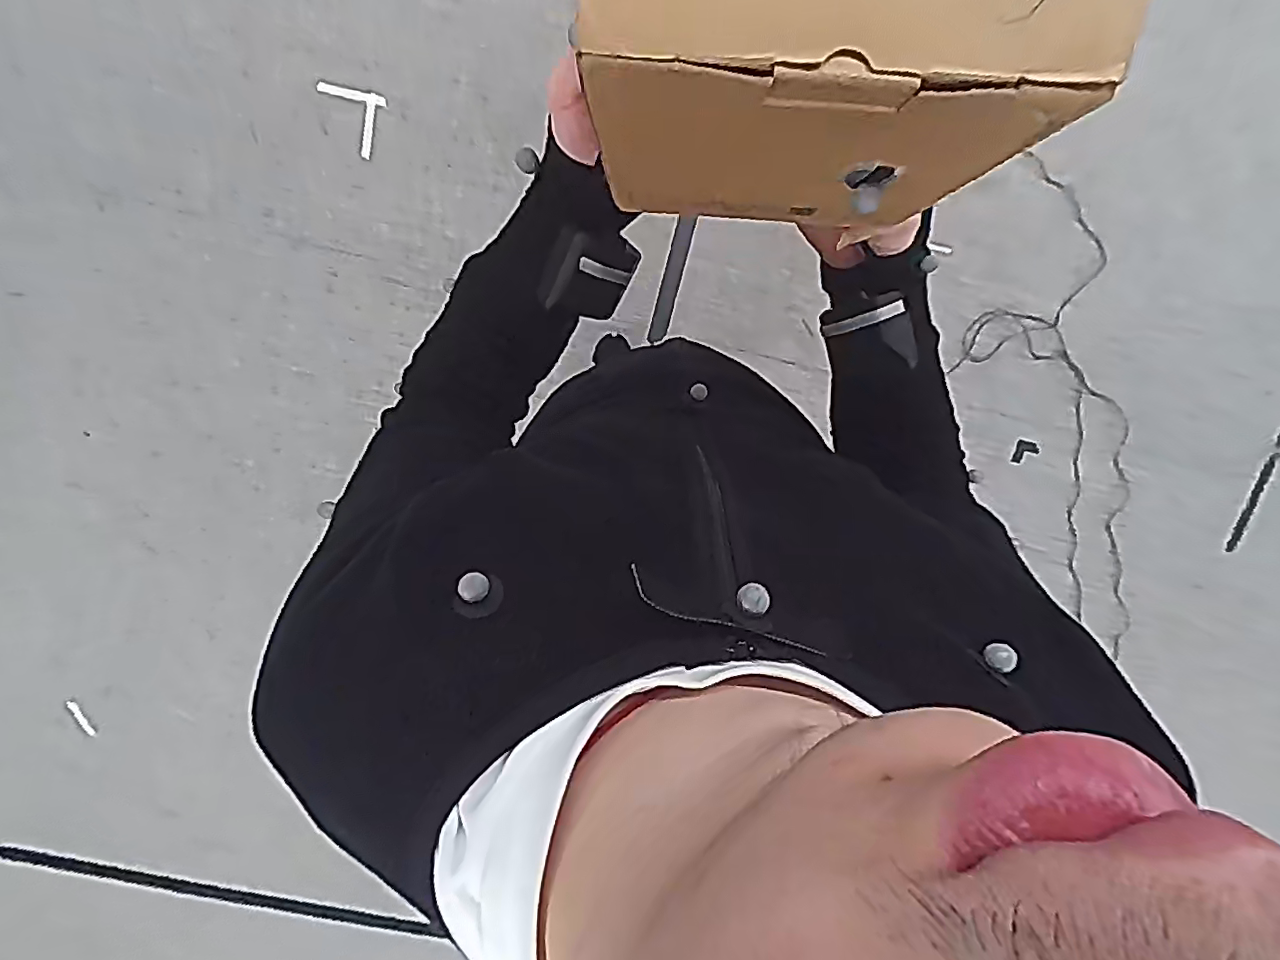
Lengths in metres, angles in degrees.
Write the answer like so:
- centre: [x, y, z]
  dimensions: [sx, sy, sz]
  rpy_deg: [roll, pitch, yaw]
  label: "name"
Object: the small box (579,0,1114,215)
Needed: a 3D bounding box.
- centre: [0.071, -0.229, 0.231]
  dimensions: [0.168, 0.176, 0.179]
  rpy_deg: [4, 102, 0]
  label: "small box"
